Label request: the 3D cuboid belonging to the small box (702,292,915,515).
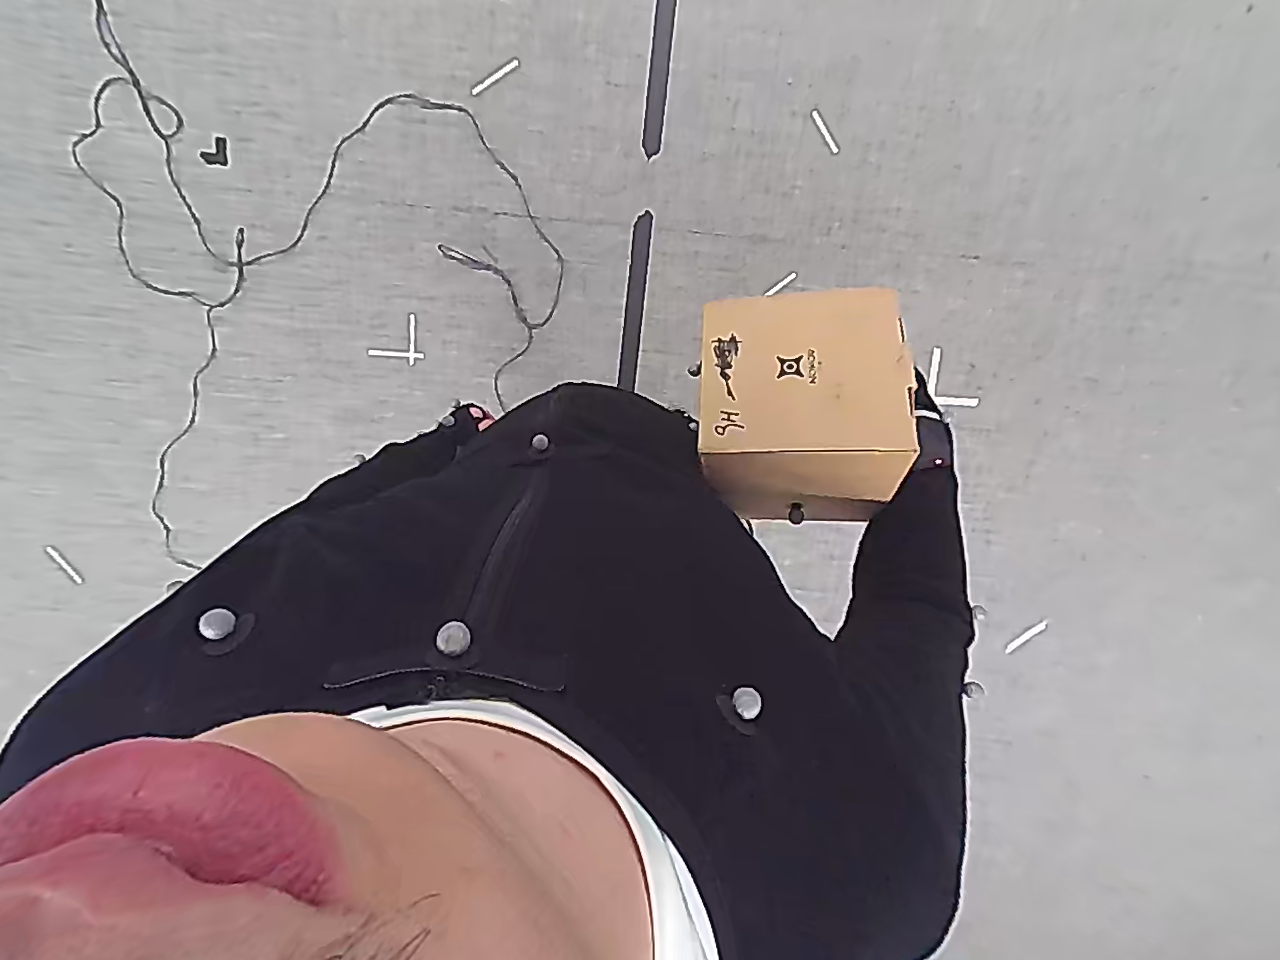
[{"bbox_3d":[0.160,-0.068,0.558,0.179,0.176,0.168,0,66,12],"label":"small box"}]
